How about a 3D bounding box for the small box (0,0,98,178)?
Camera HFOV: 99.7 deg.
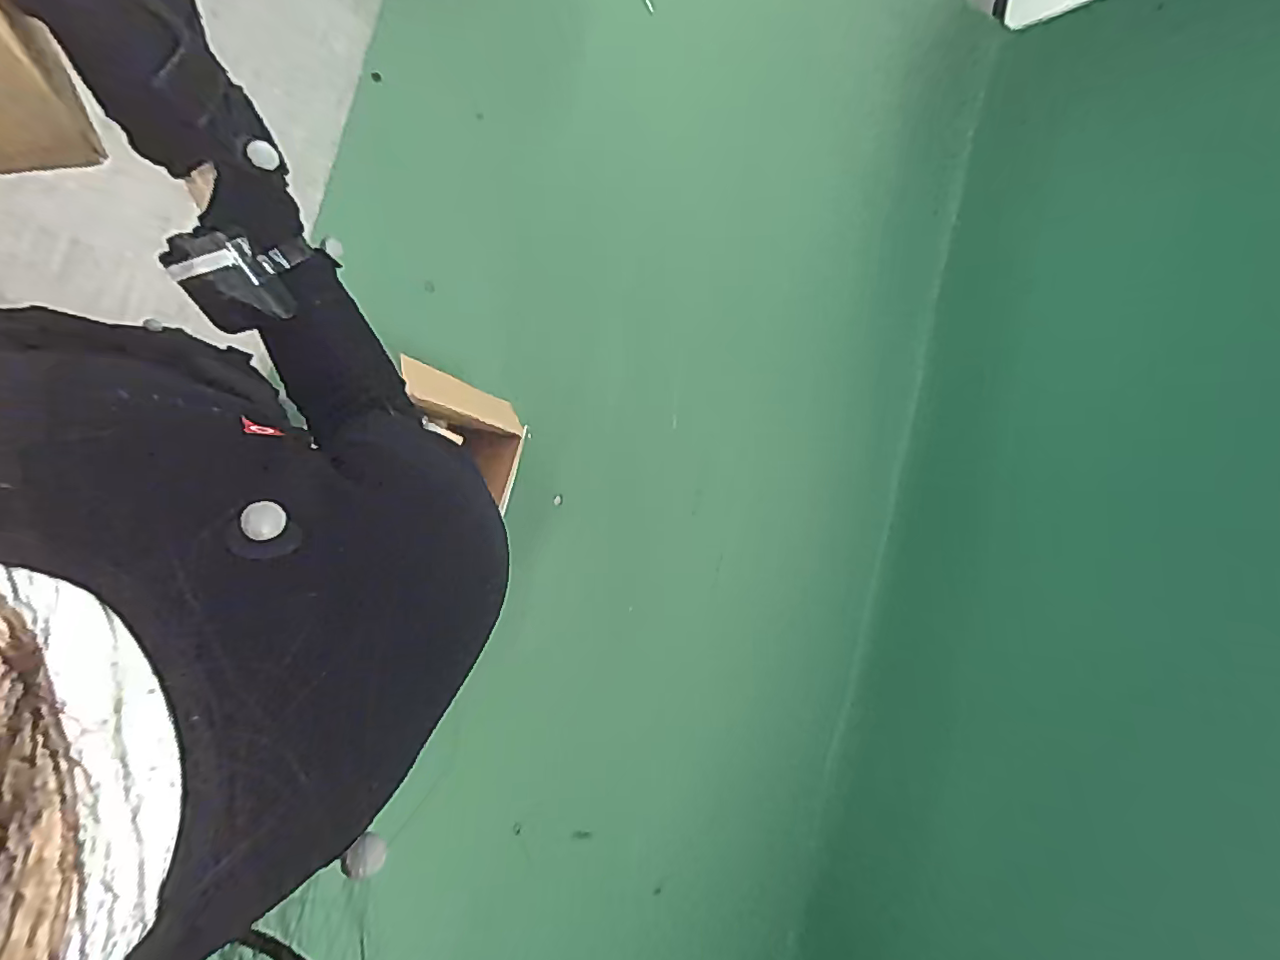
[{"bbox_3d":[-0.401,-0.255,0.230,0.168,0.176,0.179,-25,102,-26],"label":"small box"}]
